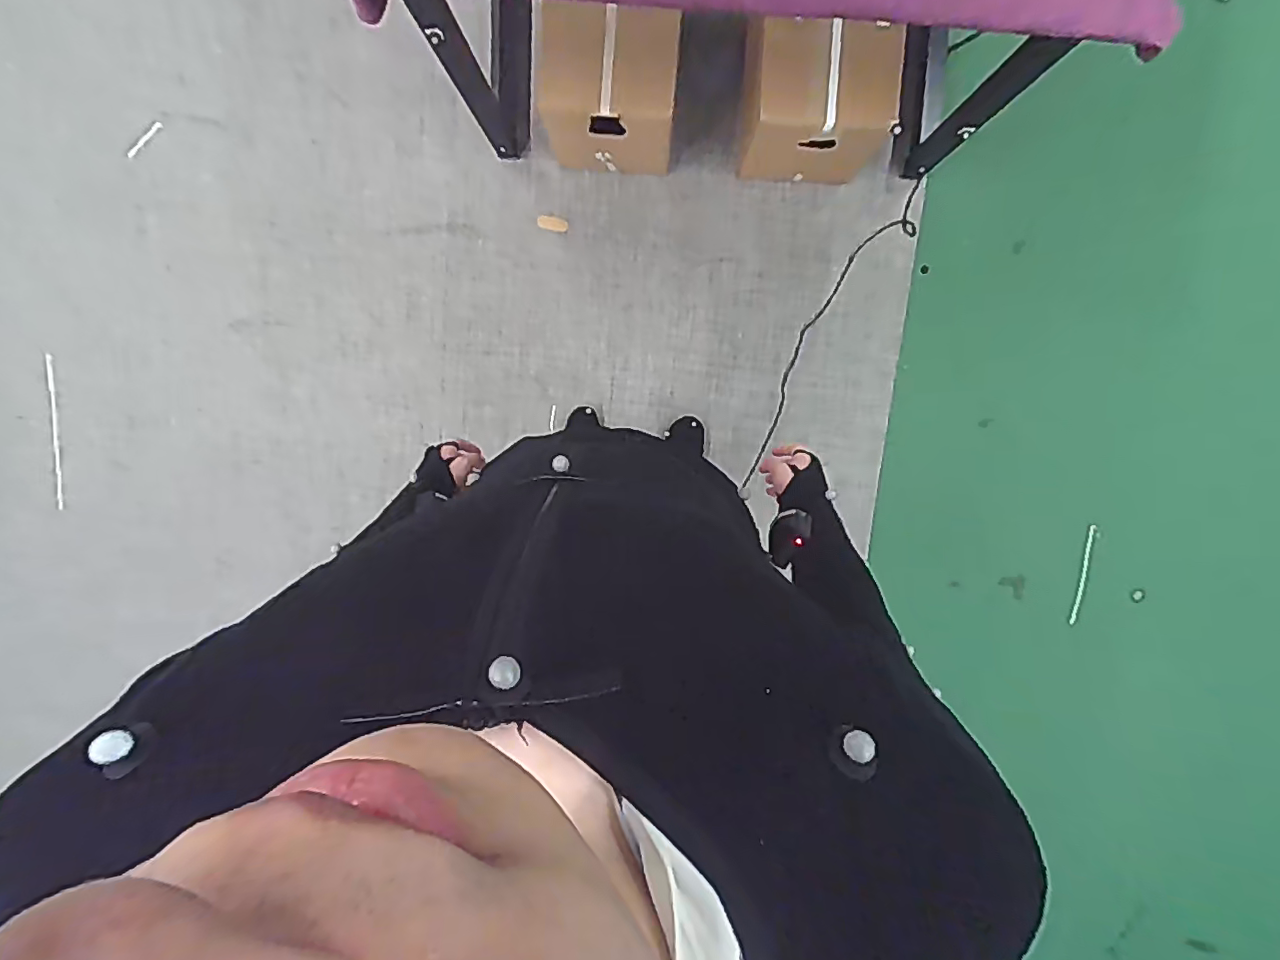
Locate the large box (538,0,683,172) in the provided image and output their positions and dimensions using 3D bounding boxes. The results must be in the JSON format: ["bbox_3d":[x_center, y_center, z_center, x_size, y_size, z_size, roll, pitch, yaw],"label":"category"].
[{"bbox_3d":[-0.060,-1.040,1.335,0.320,0.320,0.408,5,97,0],"label":"large box"}]
